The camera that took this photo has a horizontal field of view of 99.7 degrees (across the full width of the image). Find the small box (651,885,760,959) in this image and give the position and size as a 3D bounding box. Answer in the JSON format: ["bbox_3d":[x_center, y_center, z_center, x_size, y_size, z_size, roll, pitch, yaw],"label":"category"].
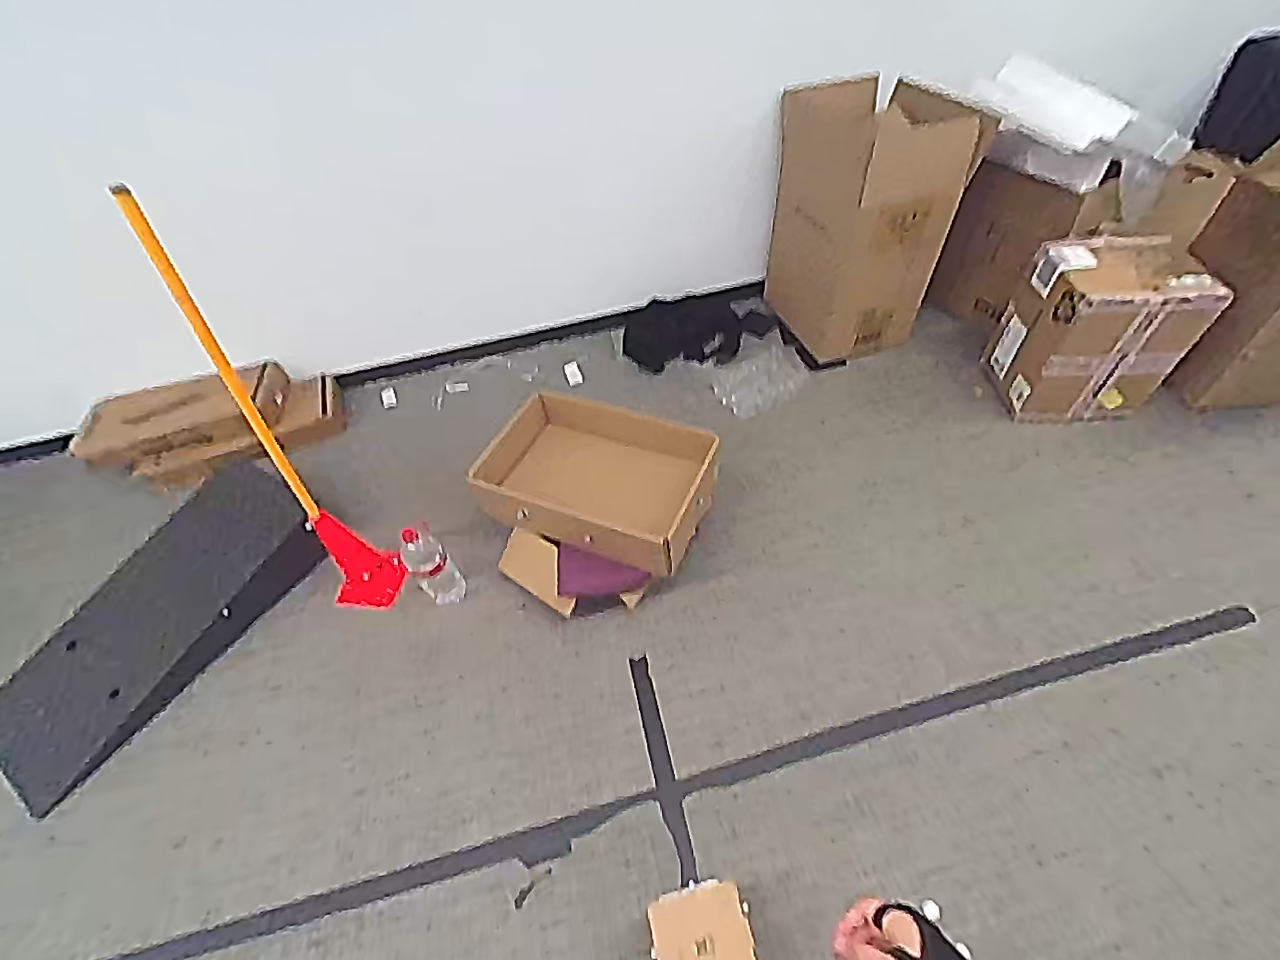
[{"bbox_3d":[0.128,0.899,1.030,0.179,0.176,0.168,-15,48,-4],"label":"small box"}]
